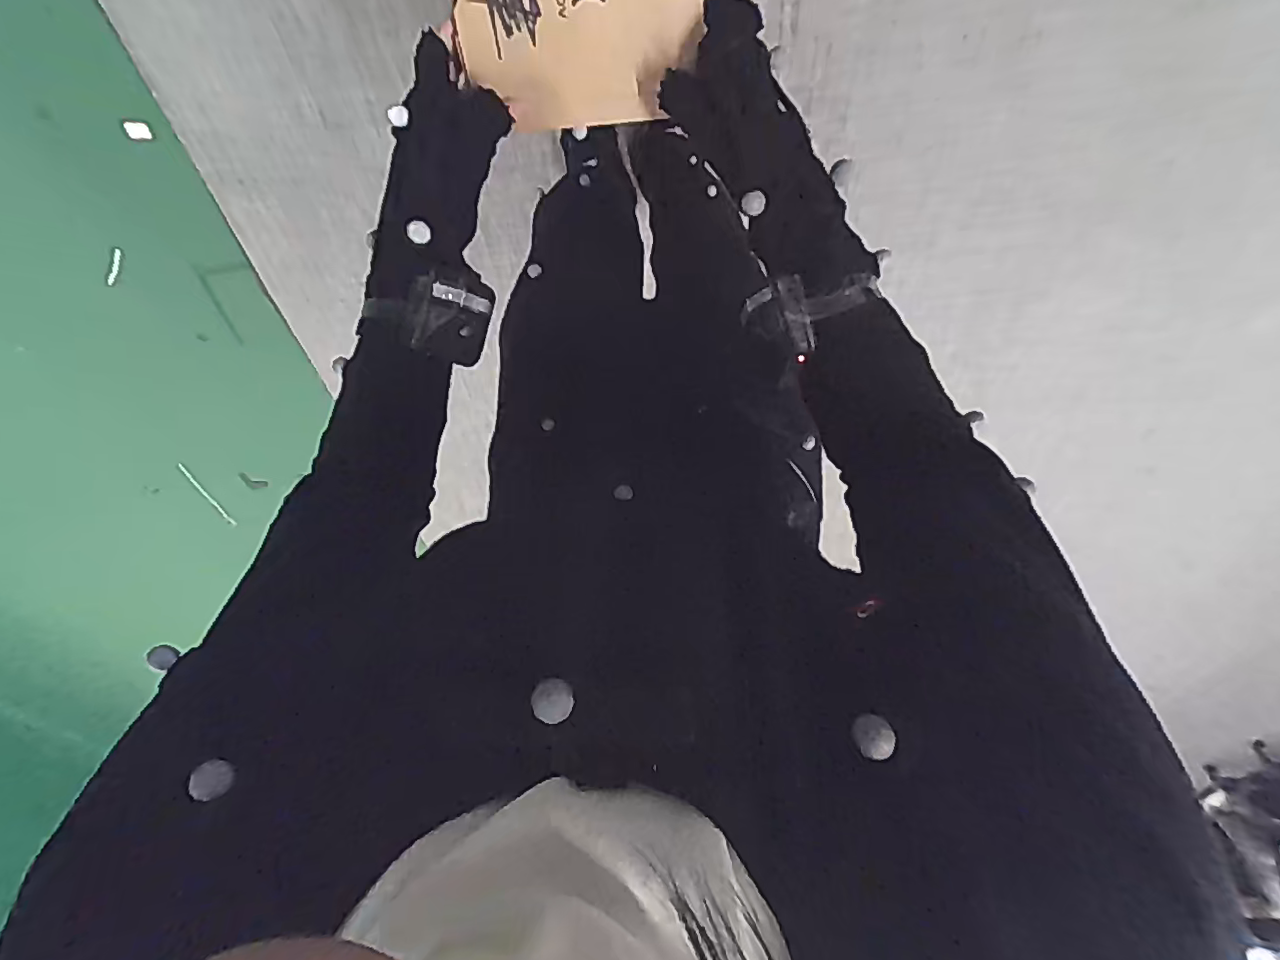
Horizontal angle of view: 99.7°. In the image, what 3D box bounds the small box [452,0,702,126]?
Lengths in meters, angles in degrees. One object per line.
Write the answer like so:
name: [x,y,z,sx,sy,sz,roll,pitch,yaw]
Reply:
small box: [-0.045,-0.392,0.427,0.179,0.176,0.168,-4,131,2]
